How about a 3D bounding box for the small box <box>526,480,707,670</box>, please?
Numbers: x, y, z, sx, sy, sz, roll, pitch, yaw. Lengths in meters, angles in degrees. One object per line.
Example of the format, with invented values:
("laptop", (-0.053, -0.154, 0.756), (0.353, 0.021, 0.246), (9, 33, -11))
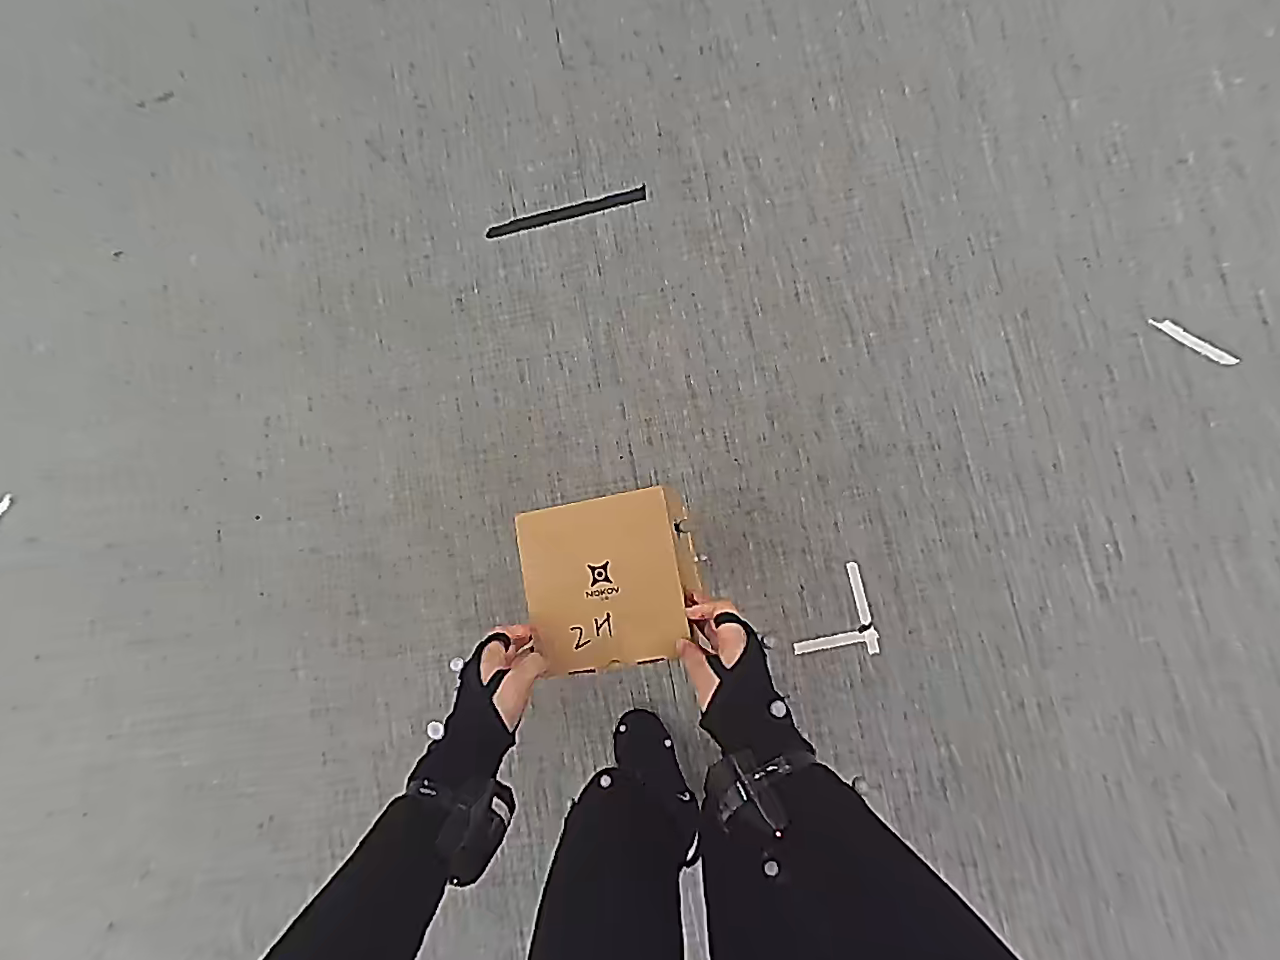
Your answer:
("small box", (-0.018, 0.108, 0.638), (0.168, 0.176, 0.179), (-12, 83, 9))
